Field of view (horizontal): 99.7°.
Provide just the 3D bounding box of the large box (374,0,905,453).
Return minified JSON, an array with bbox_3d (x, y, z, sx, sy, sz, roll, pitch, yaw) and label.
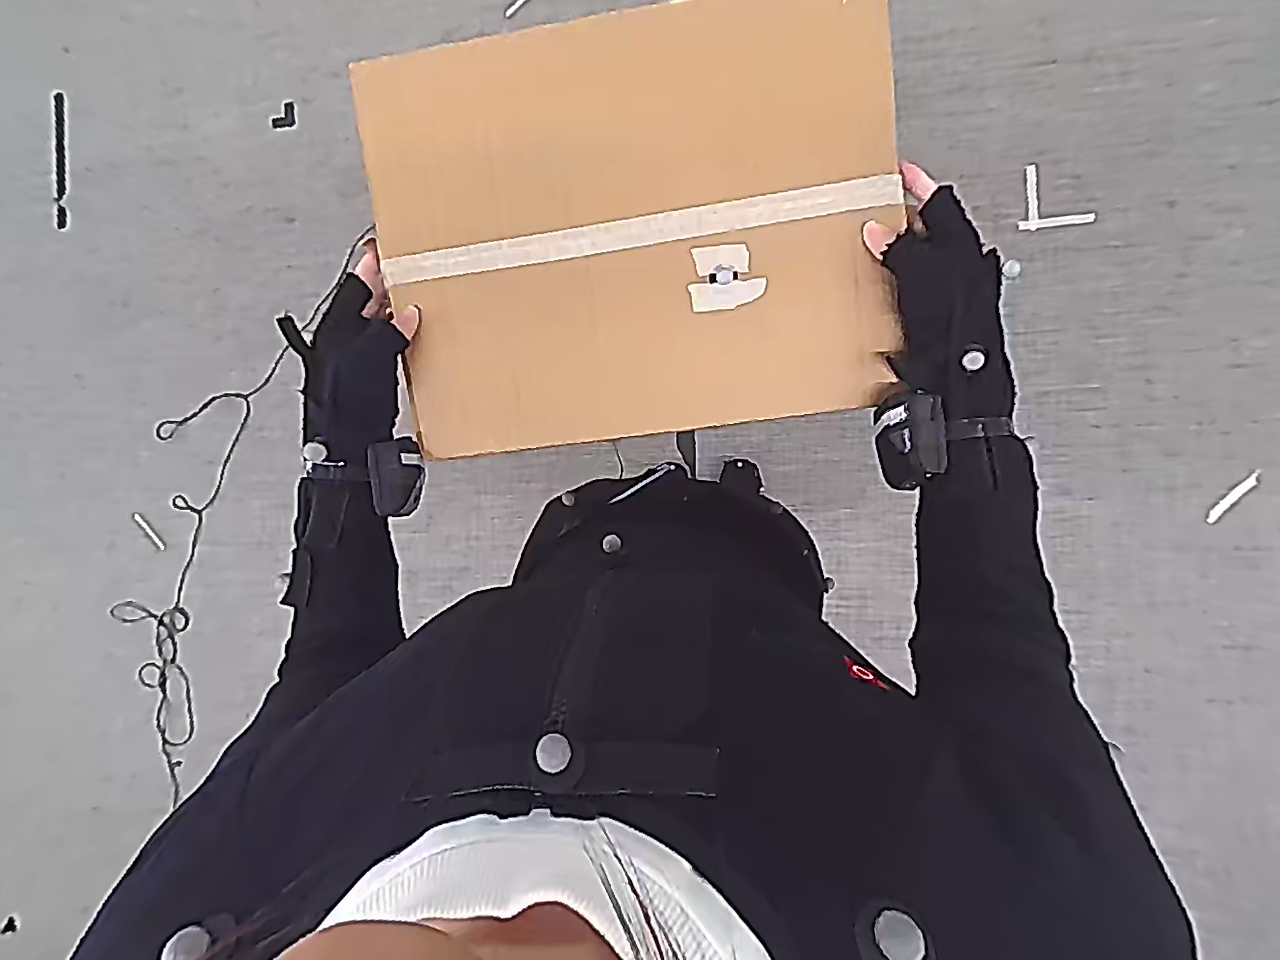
[{"bbox_3d":[0.008,-0.218,0.583,0.408,0.320,0.320,-7,98,5],"label":"large box"}]
